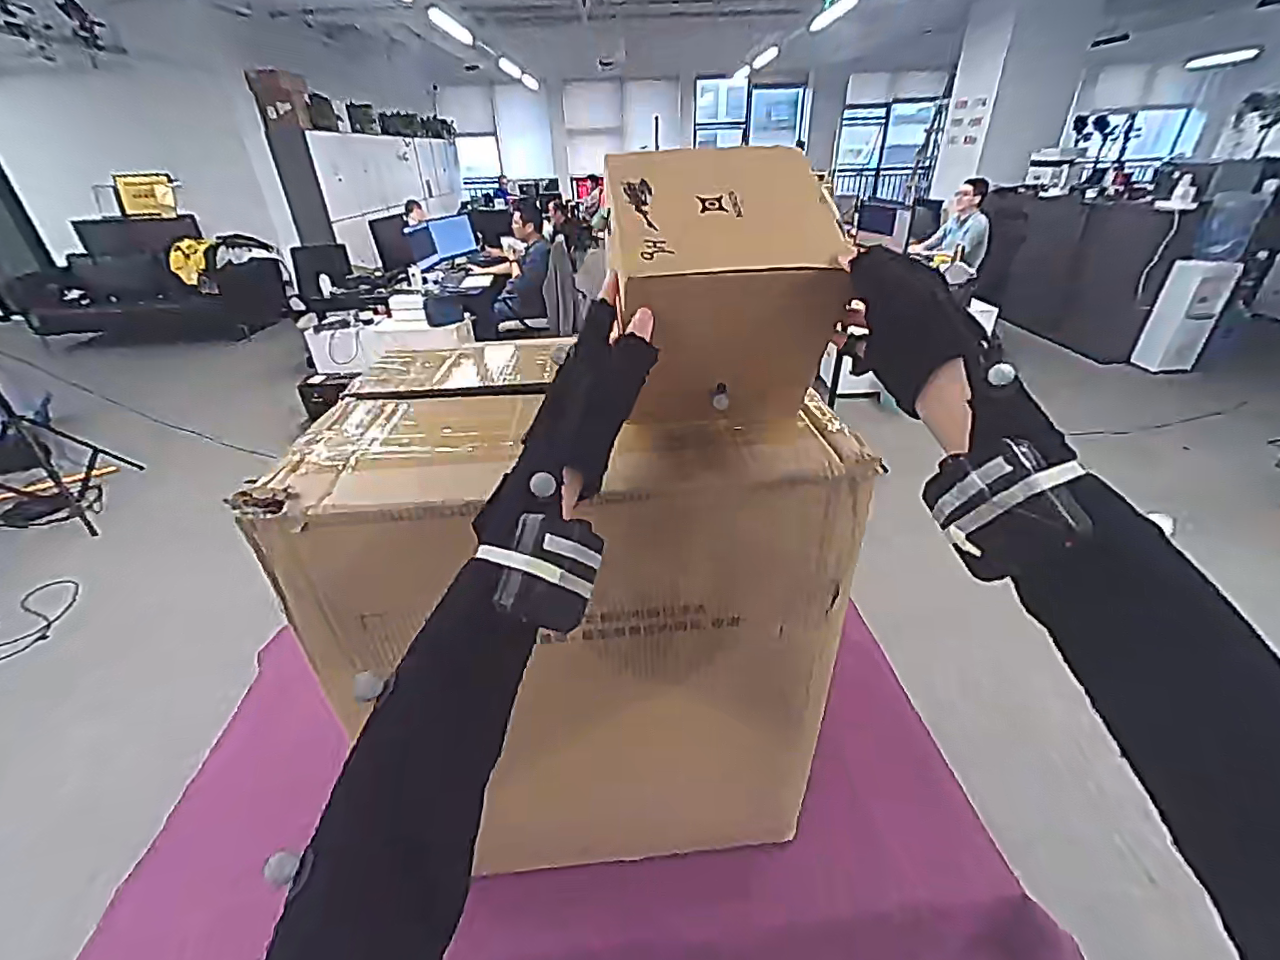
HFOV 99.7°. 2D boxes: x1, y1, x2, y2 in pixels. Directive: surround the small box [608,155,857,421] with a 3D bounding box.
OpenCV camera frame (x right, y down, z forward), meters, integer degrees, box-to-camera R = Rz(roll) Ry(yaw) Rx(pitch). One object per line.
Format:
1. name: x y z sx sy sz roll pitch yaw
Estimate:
1. small box: 0.063 -0.170 0.499 0.179 0.176 0.168 -4 56 -6
